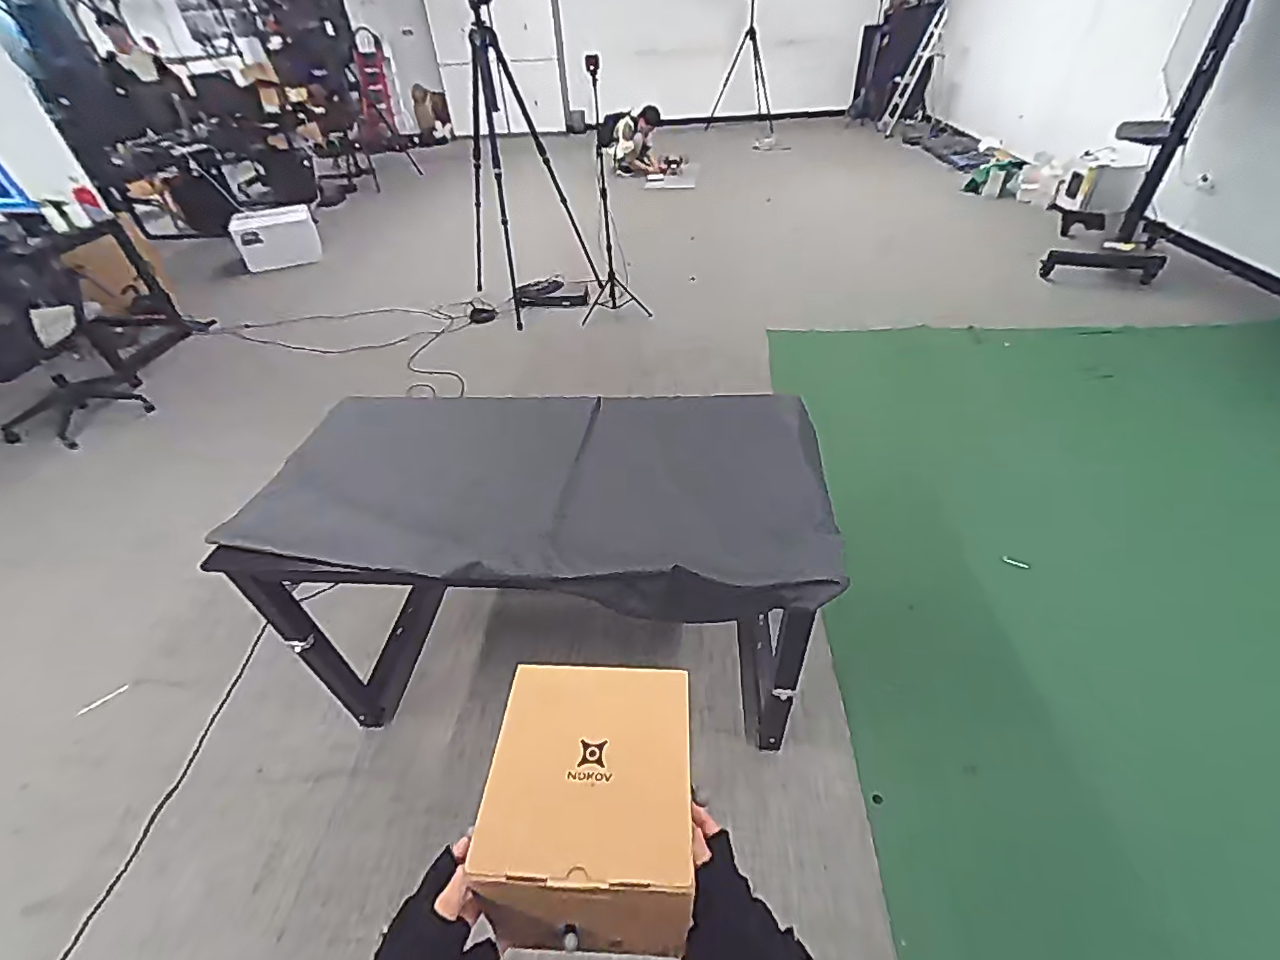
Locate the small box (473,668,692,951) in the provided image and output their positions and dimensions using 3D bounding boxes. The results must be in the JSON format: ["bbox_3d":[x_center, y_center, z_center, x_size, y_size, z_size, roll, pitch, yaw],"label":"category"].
[{"bbox_3d":[-0.039,0.304,0.509,0.168,0.176,0.179,1,38,3],"label":"small box"}]
